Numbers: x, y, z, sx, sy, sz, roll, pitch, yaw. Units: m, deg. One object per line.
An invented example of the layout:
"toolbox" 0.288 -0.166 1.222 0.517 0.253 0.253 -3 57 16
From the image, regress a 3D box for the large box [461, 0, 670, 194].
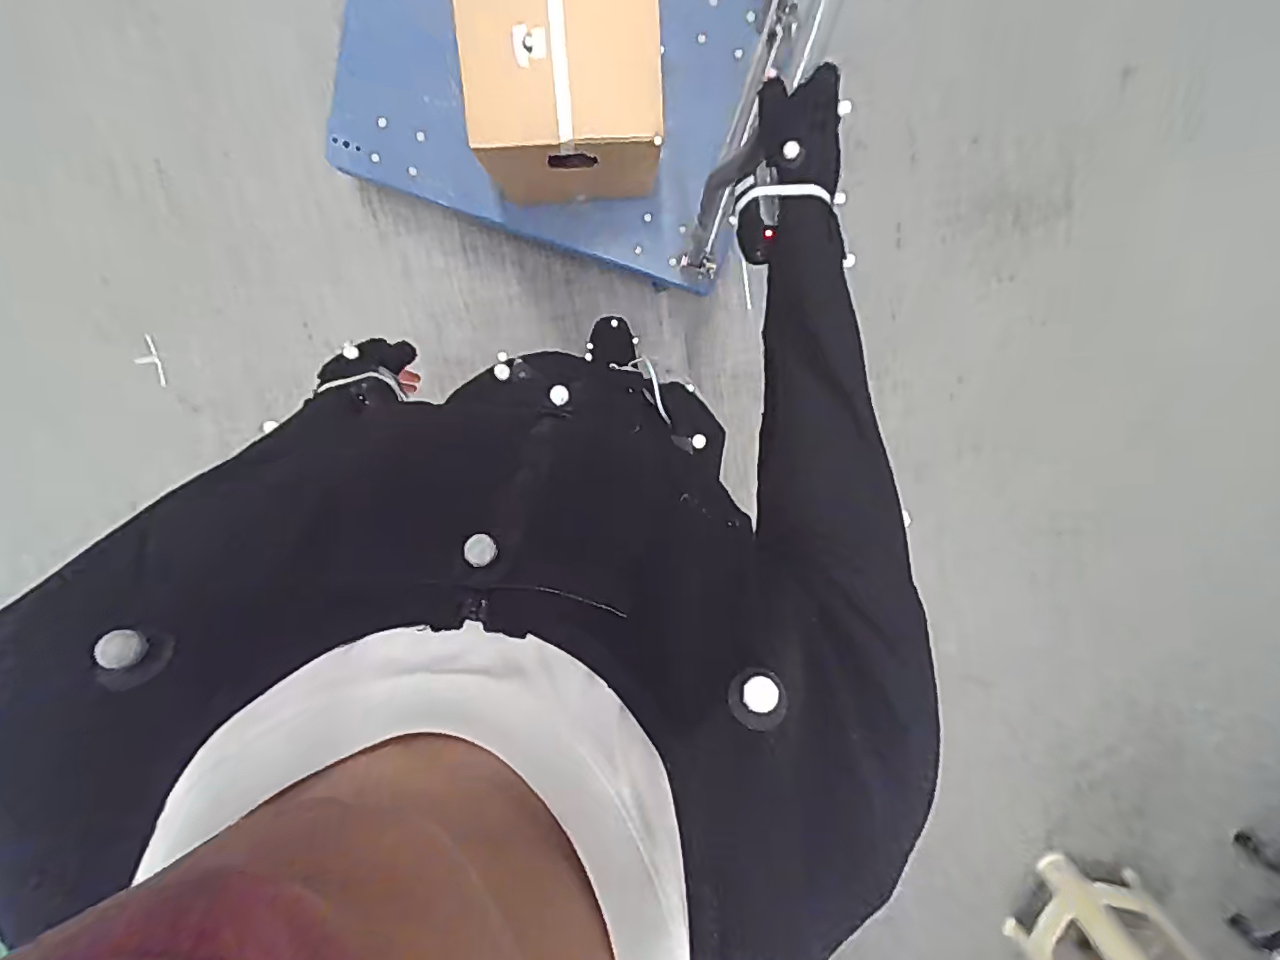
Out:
"large box" -0.122 -0.772 0.956 0.320 0.320 0.408 -3 104 0
